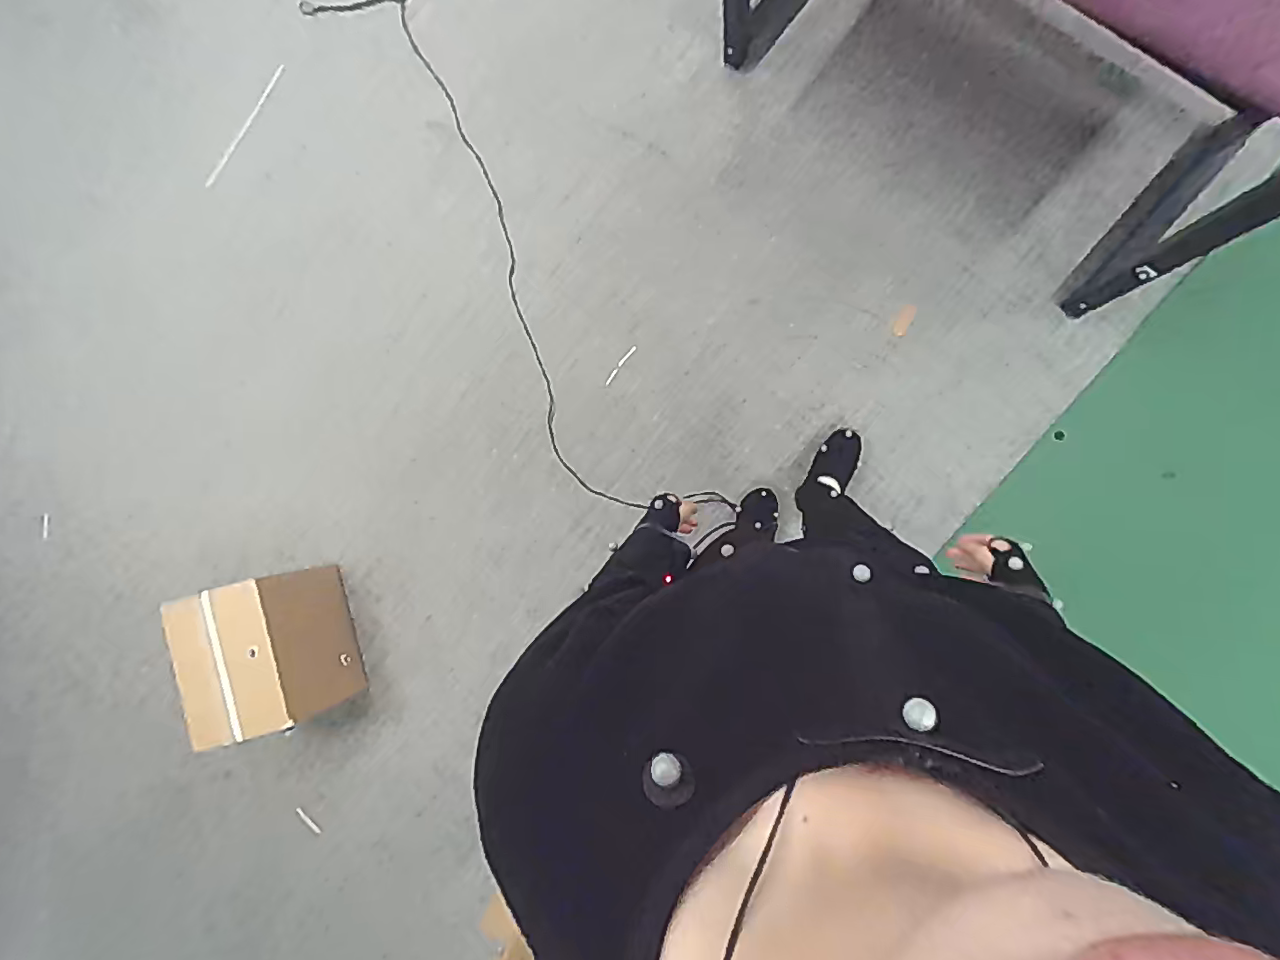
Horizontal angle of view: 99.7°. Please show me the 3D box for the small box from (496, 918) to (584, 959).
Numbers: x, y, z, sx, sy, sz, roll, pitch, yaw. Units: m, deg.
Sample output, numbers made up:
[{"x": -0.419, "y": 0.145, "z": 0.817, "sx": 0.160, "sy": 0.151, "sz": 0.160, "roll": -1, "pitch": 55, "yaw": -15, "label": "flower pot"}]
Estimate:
[{"x": -0.207, "y": 0.977, "z": 0.997, "sx": 0.179, "sy": 0.176, "sz": 0.168, "roll": 32, "pitch": 93, "yaw": 9, "label": "small box"}]

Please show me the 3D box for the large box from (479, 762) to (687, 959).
[{"x": -0.127, "y": 1.022, "z": 1.397, "sx": 0.408, "sy": 0.320, "sz": 0.320, "roll": 25, "pitch": 94, "yaw": 7, "label": "large box"}]
